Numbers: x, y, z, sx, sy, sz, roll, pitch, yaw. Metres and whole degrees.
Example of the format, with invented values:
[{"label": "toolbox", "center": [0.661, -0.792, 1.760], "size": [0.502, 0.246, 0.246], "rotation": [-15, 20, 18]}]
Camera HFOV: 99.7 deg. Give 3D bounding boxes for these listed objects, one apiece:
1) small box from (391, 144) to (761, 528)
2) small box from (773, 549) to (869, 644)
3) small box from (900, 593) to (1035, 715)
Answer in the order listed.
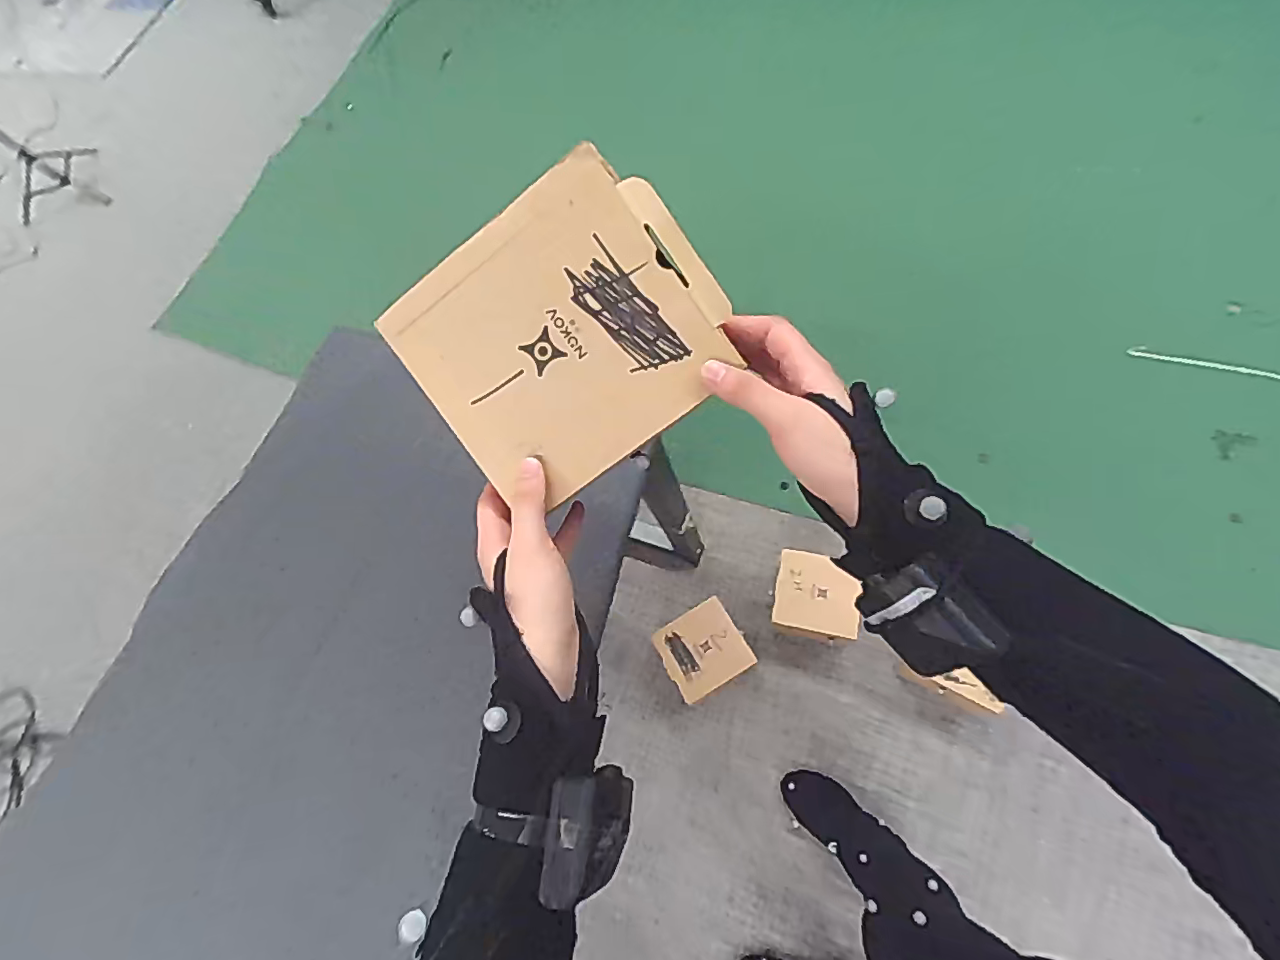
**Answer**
[{"label": "small box", "center": [-0.034, -0.093, 0.406], "size": [0.179, 0.176, 0.168], "rotation": [-34, 93, 11]}, {"label": "small box", "center": [0.400, 0.267, 1.217], "size": [0.179, 0.176, 0.168], "rotation": [9, 71, 16]}, {"label": "small box", "center": [0.665, 0.359, 1.121], "size": [0.168, 0.176, 0.179], "rotation": [26, 77, 20]}]
